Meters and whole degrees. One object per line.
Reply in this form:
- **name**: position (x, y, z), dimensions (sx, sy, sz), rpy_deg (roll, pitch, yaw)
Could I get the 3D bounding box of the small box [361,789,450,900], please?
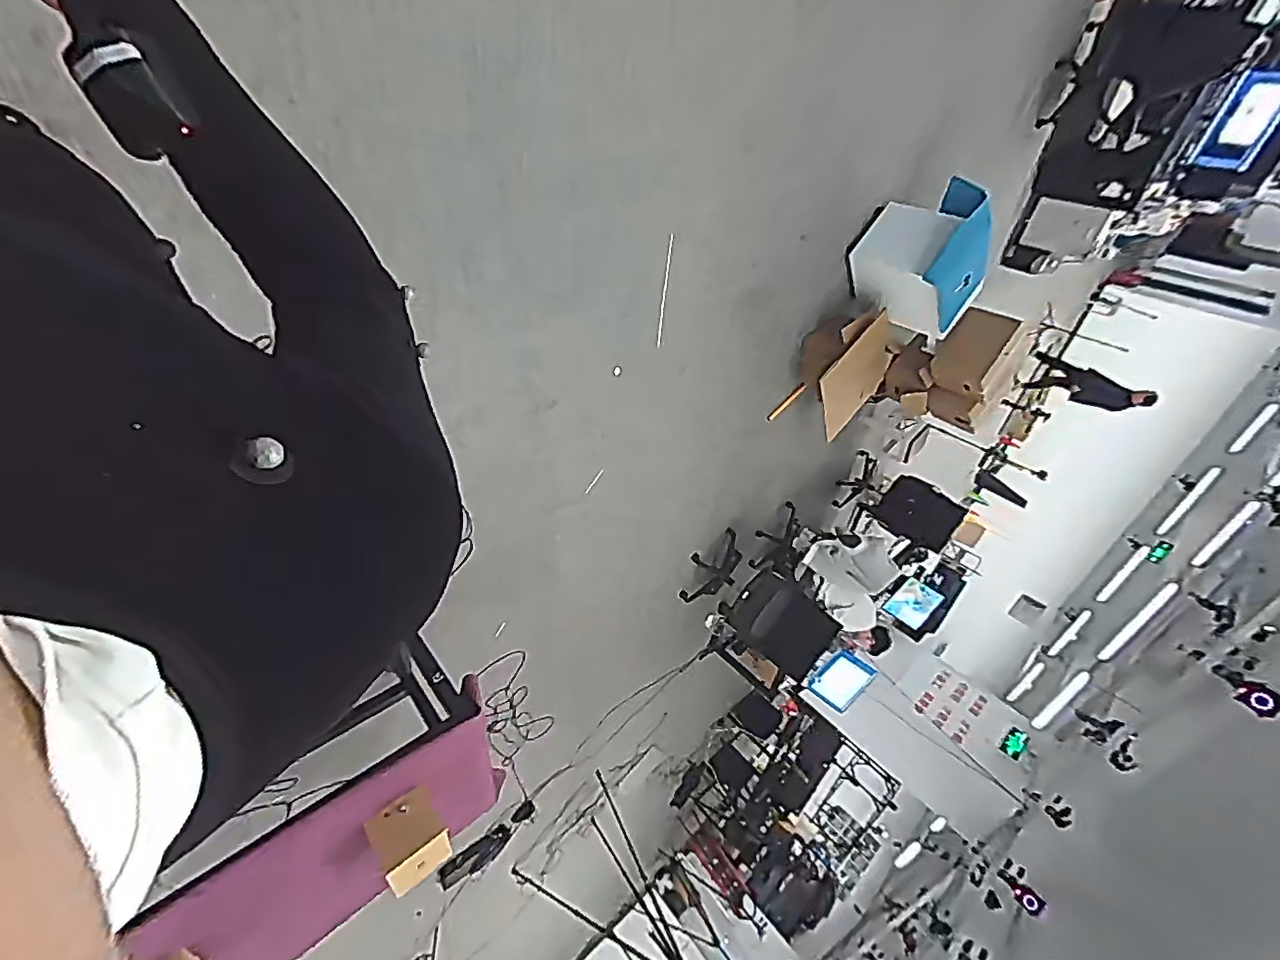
- **small box**: position (-0.659, 1.018, 1.523), dimensions (0.168, 0.176, 0.179), rpy_deg (-26, 137, -36)
